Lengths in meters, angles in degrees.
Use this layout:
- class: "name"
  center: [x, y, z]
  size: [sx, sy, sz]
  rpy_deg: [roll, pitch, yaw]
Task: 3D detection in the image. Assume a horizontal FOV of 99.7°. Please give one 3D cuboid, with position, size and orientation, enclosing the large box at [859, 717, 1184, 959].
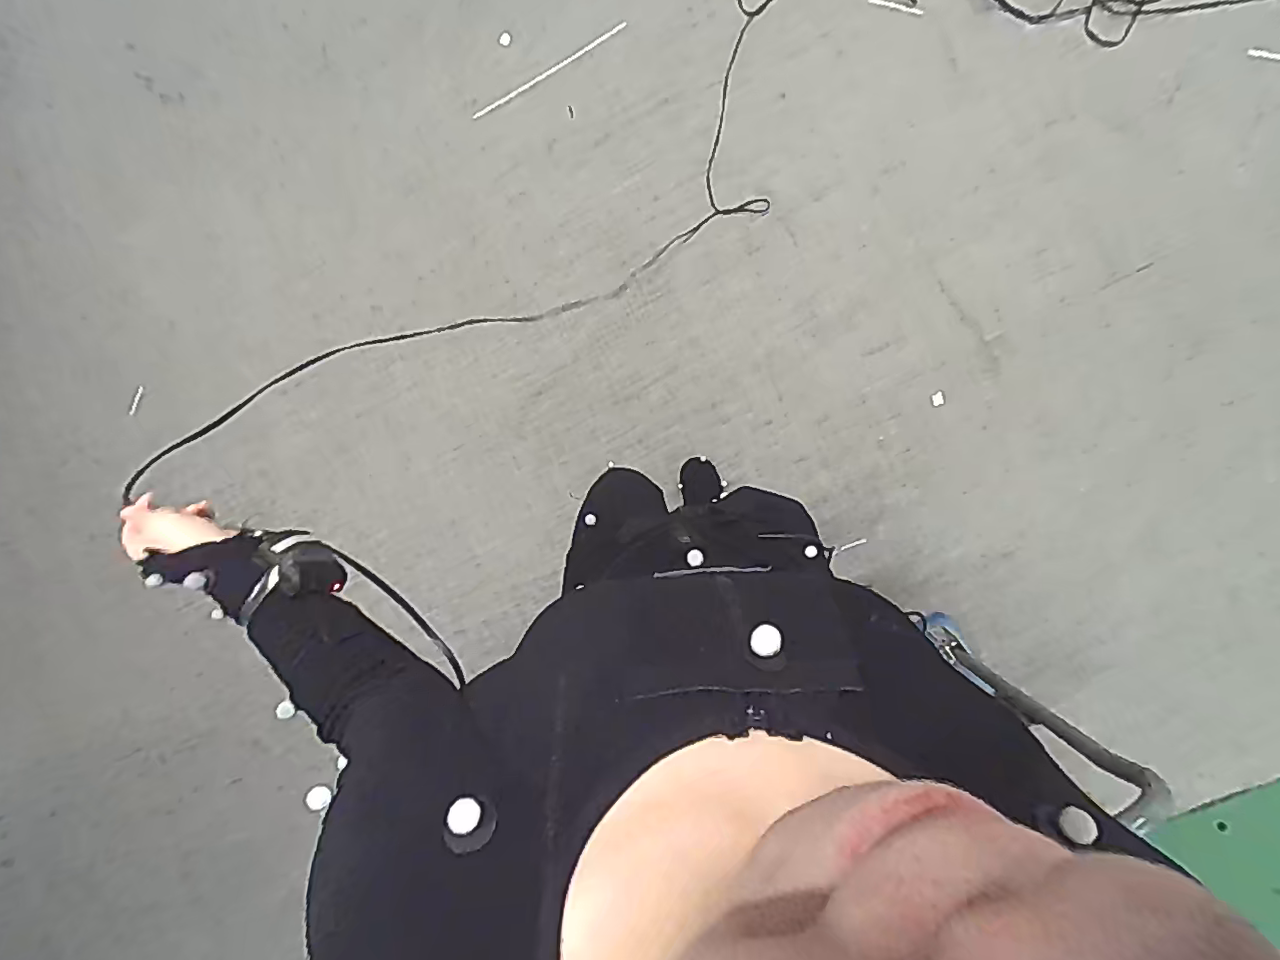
- class: "large box"
  center: [0.756, 0.787, 1.145]
  size: [0.408, 0.320, 0.320]
  rpy_deg: [-30, 88, 7]
